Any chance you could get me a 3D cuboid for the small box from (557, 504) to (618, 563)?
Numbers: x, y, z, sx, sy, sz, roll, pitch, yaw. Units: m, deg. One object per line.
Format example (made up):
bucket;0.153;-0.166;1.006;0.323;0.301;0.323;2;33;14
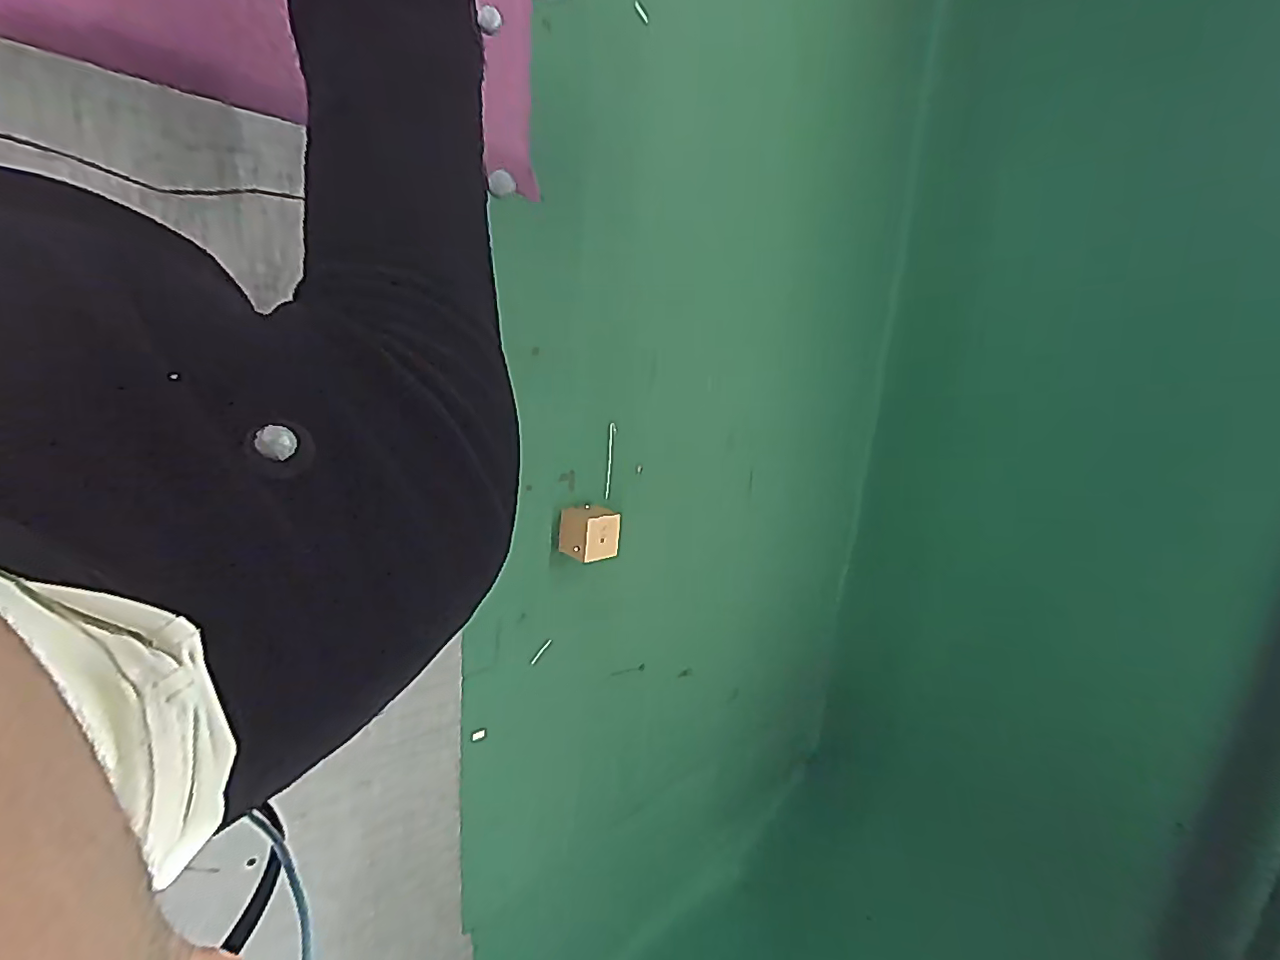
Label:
small box;-0.211;0.205;2.119;0.168;0.176;0.179;-5;106;-44
